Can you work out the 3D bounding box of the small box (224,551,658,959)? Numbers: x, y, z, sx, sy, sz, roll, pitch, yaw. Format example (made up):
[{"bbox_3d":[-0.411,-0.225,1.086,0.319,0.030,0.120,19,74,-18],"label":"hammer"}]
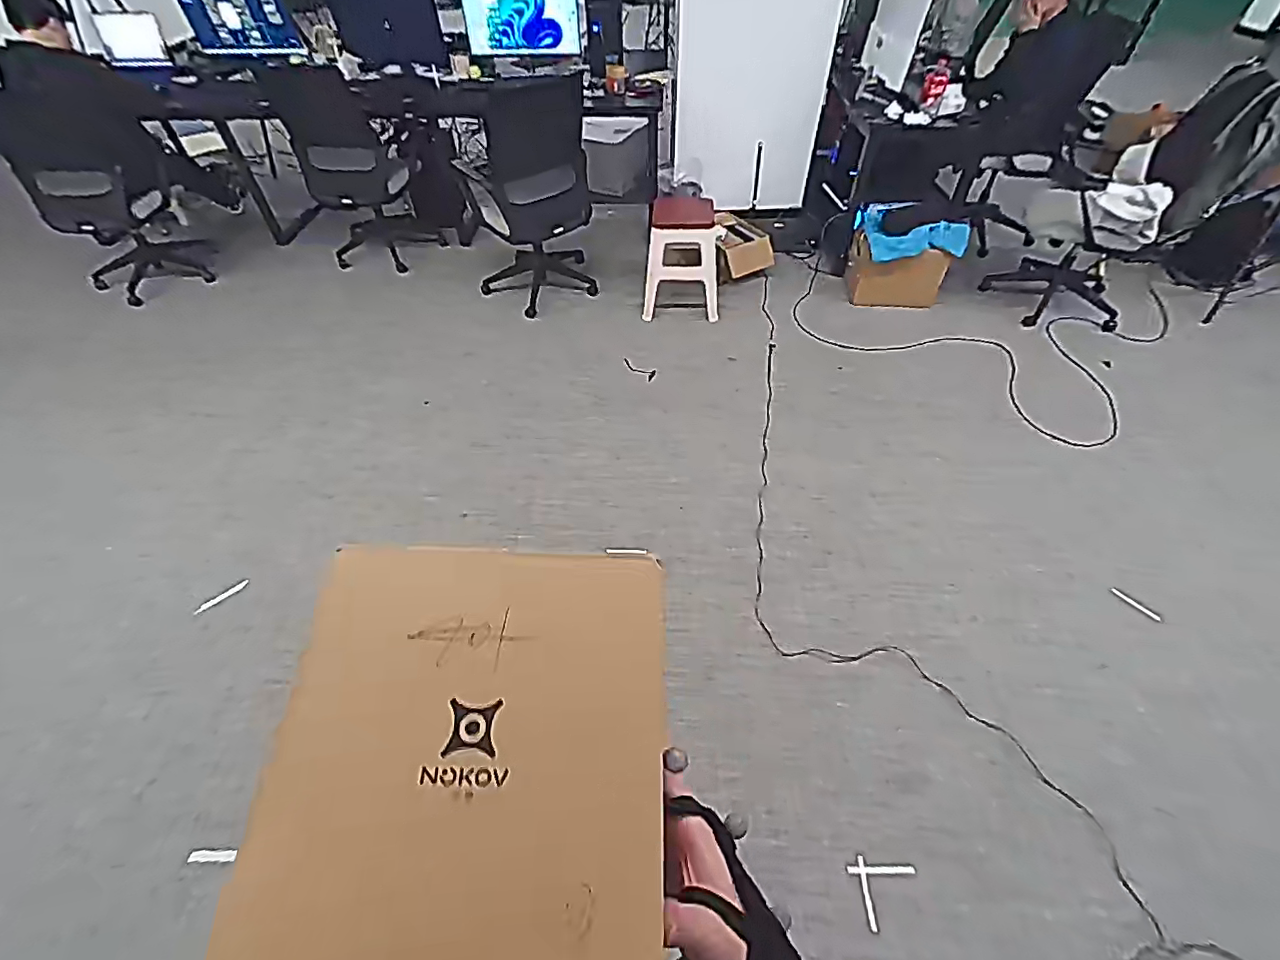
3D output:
[{"bbox_3d":[-0.077,0.156,0.313,0.168,0.176,0.179,2,58,-2],"label":"small box"}]
